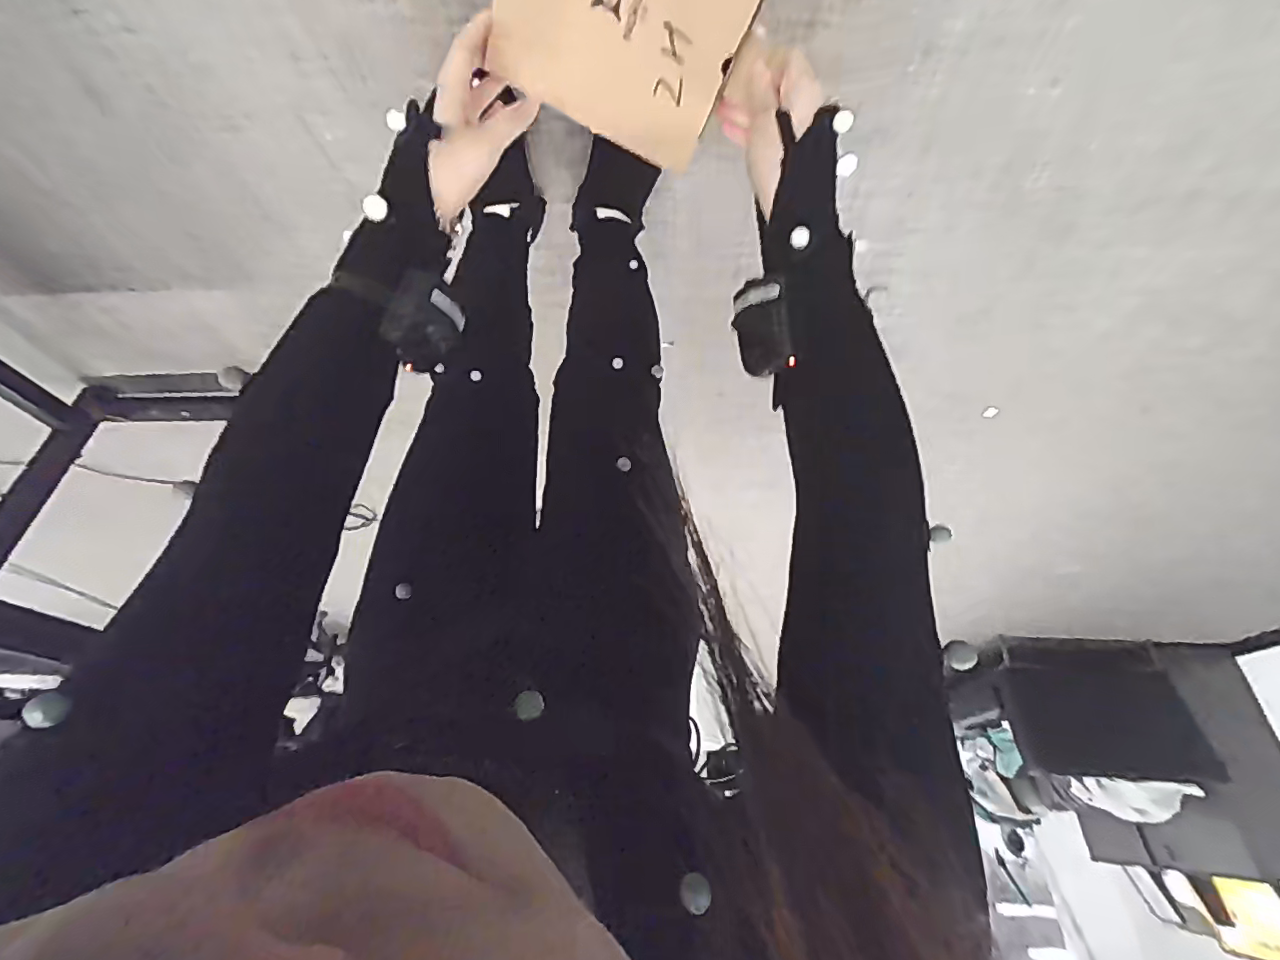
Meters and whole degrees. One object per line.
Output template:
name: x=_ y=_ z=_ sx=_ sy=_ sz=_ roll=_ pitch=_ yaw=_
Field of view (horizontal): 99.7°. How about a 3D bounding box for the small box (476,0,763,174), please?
small box: x=0.002 y=-0.379 z=0.404 sx=0.179 sy=0.176 sz=0.168 roll=23 pitch=143 yaw=-10
